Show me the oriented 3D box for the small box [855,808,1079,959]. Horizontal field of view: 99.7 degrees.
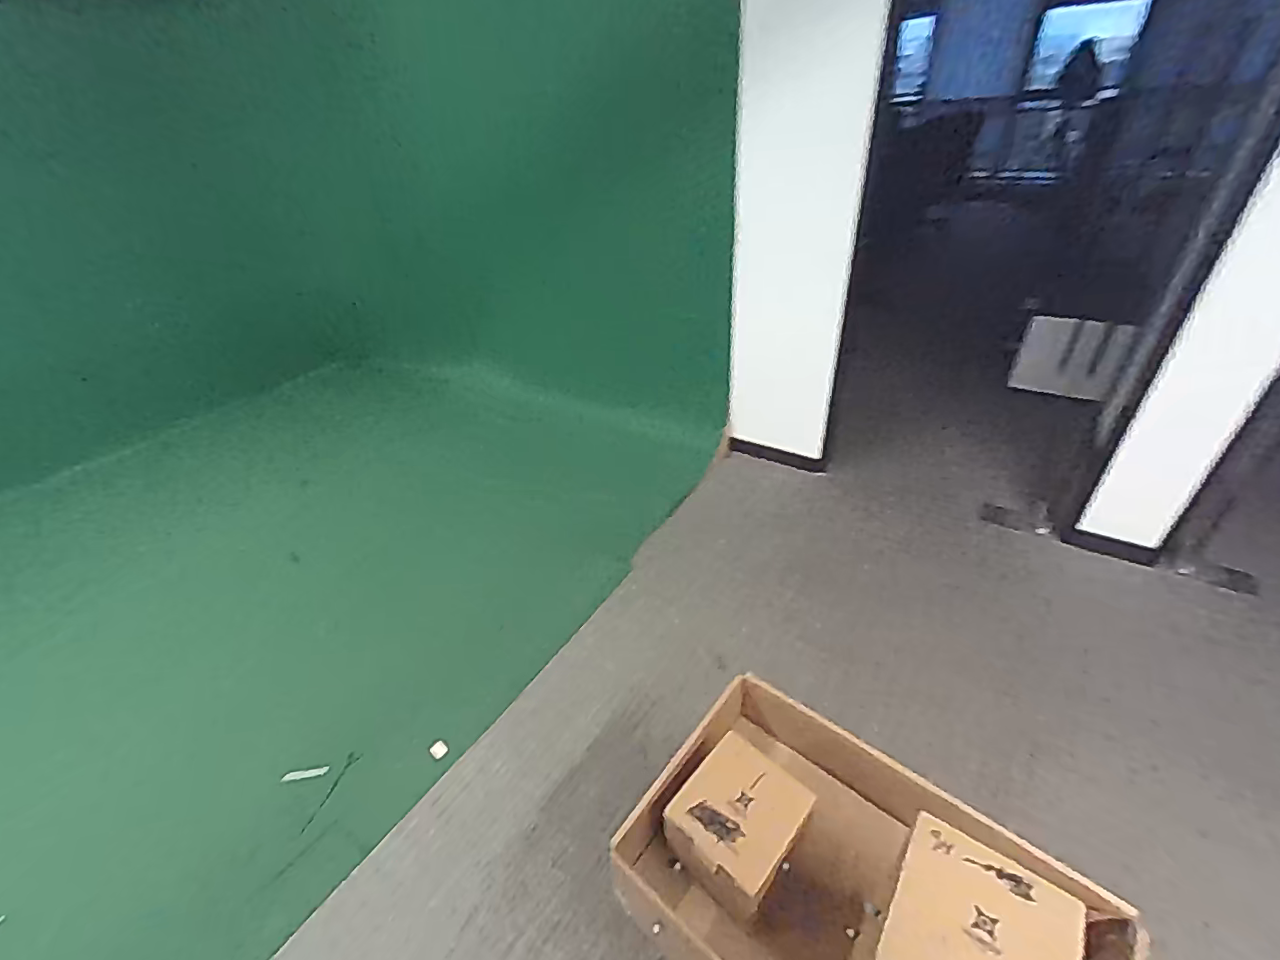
[{"bbox_3d":[0.356,0.531,0.611,0.168,0.176,0.179,22,45,31],"label":"small box"}]
